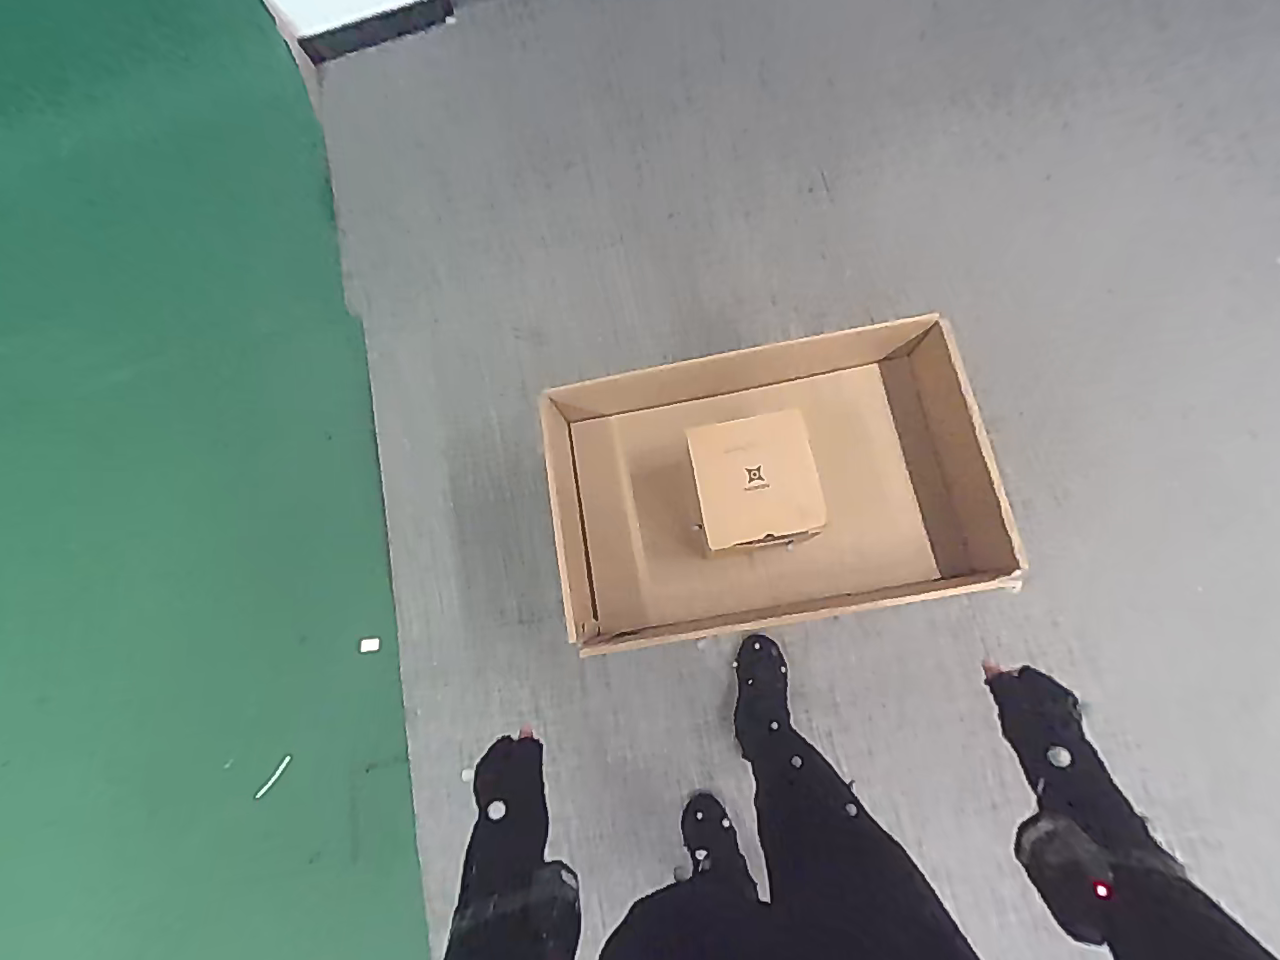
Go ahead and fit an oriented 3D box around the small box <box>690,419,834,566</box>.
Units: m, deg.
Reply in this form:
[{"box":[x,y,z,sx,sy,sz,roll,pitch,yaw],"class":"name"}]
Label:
[{"box":[0.175,0.030,0.822,0.168,0.176,0.179,-12,74,3],"class":"small box"}]
